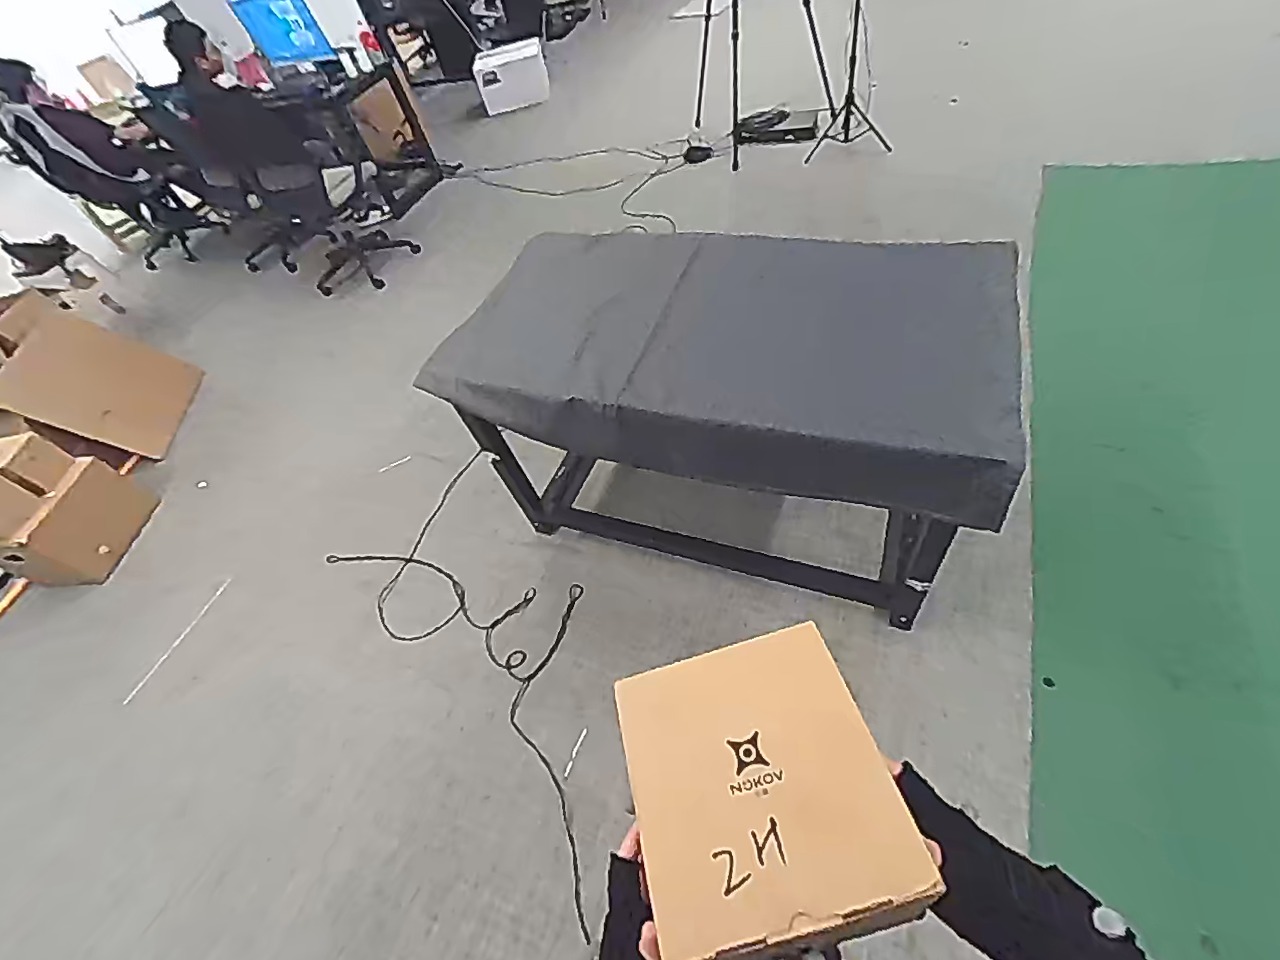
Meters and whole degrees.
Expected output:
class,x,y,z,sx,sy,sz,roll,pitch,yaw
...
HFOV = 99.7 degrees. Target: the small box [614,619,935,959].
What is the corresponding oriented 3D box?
class,x,y,z,sx,sy,sz,roll,pitch,yaw
small box,0.090,0.242,0.415,0.168,0.176,0.179,-18,44,2
